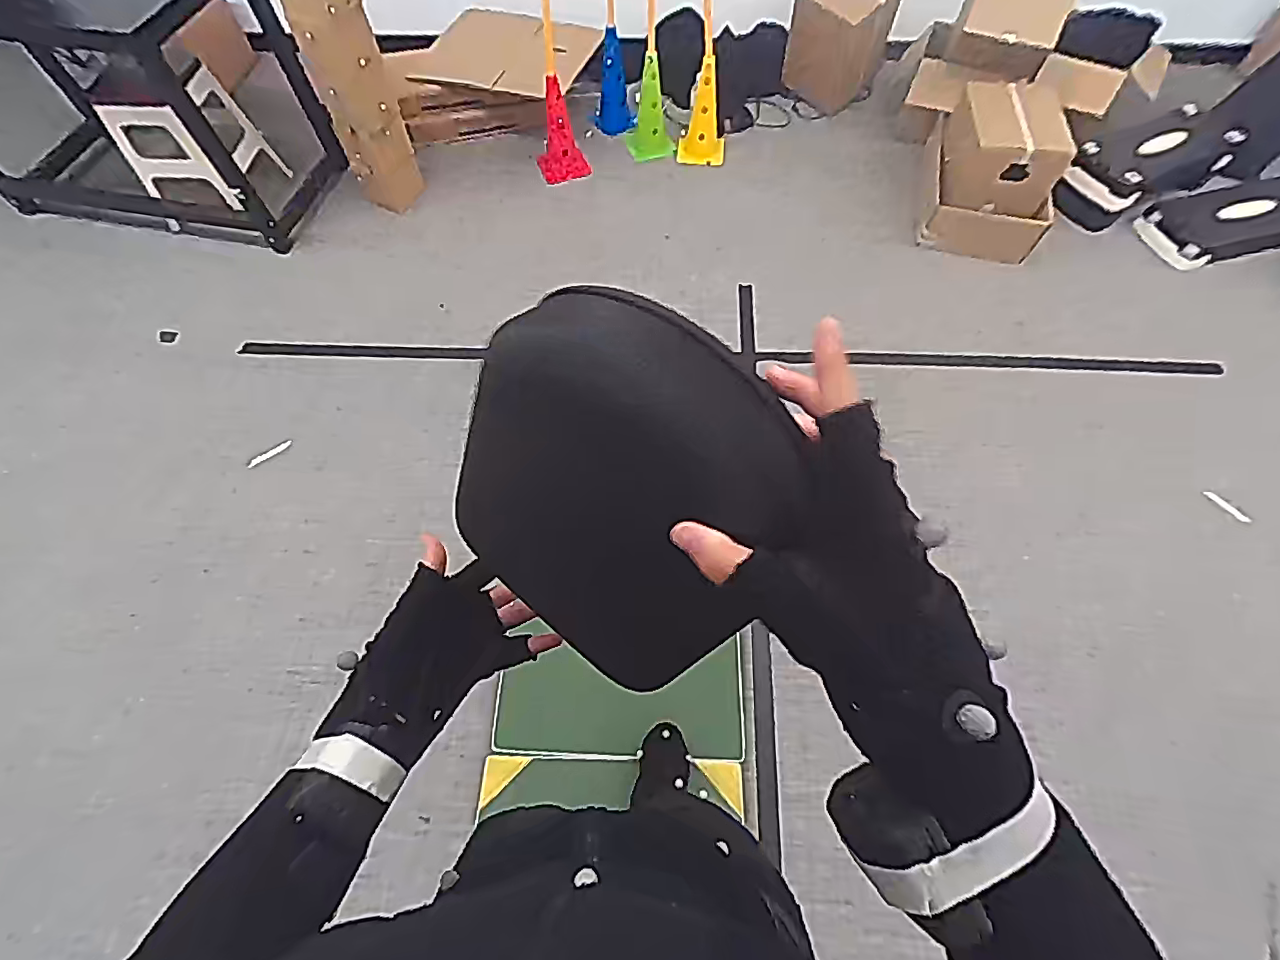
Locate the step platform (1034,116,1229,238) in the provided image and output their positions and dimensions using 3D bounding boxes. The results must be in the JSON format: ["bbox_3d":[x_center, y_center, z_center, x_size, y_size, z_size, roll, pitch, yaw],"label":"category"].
[{"bbox_3d":[1.979,-1.227,2.180,0.684,0.204,0.286,-24,66,-11],"label":"step platform"}]
